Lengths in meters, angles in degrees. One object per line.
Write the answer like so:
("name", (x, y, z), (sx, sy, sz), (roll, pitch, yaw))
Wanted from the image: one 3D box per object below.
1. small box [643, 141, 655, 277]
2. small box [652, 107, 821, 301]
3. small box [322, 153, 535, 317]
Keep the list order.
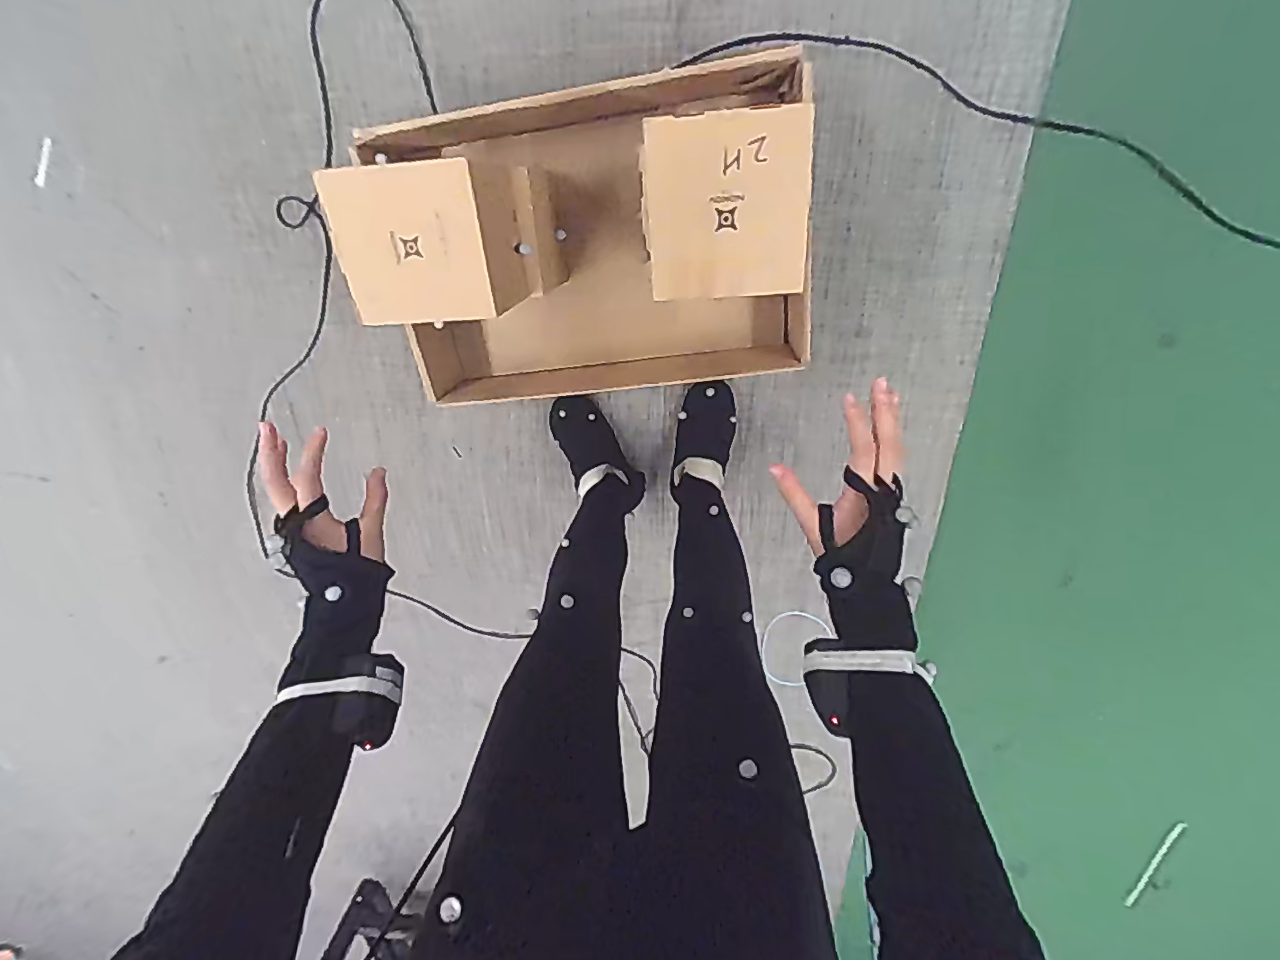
("small box", (0.102, -0.387, 0.778), (0.179, 0.176, 0.168), (0, 116, 6))
("small box", (0.102, -0.313, 0.630), (0.168, 0.176, 0.179), (-1, 115, 5))
("small box", (-0.245, -0.302, 0.673), (0.179, 0.176, 0.168), (0, 117, 5))
